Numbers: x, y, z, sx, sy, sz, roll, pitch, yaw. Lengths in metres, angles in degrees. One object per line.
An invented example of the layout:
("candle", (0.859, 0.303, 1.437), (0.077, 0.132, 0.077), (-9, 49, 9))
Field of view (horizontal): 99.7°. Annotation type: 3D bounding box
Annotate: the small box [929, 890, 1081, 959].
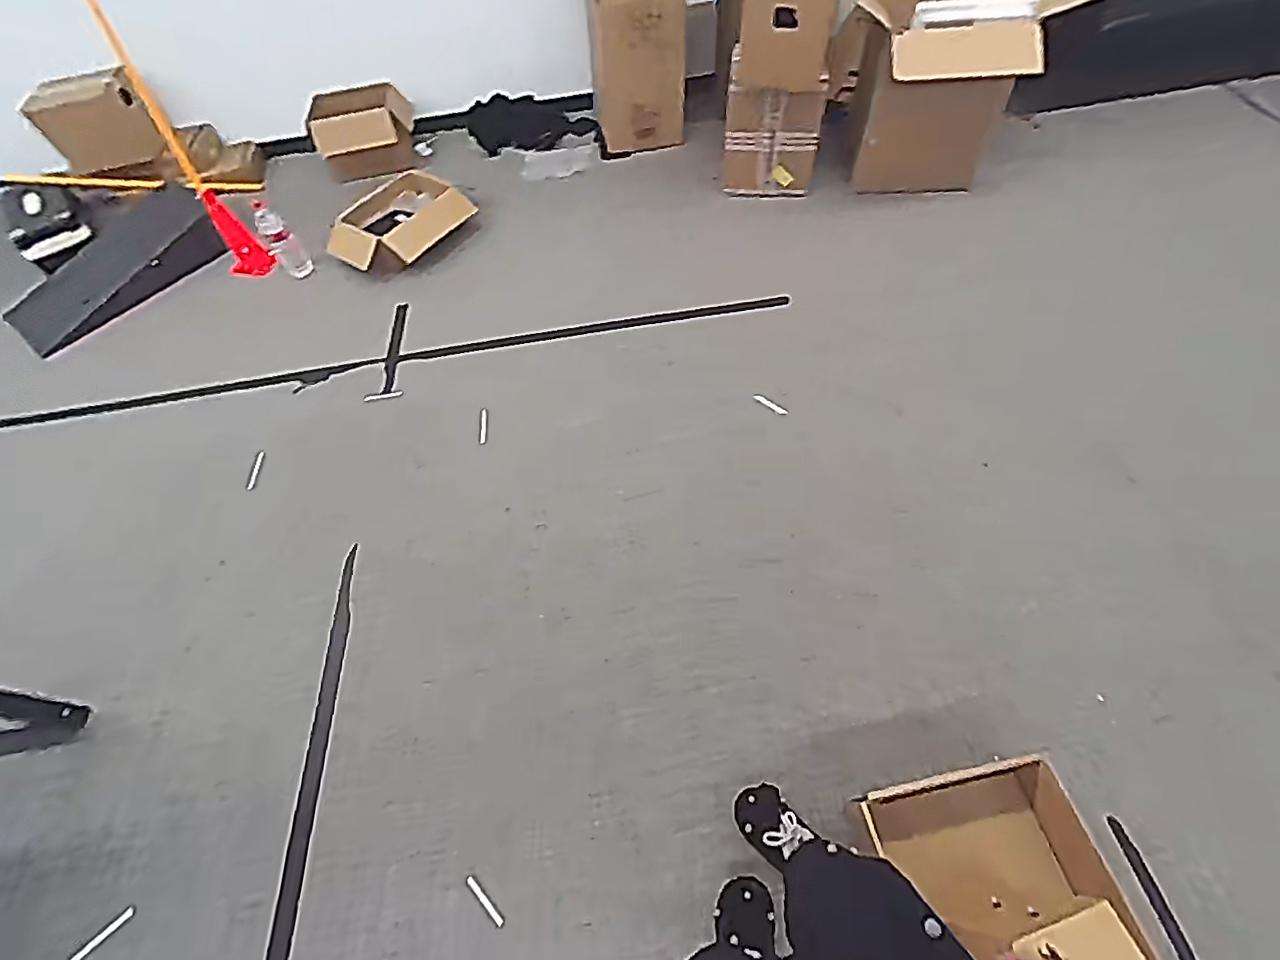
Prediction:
("small box", (0.670, 0.872, 0.981), (0.179, 0.176, 0.168), (-16, 56, -5))
